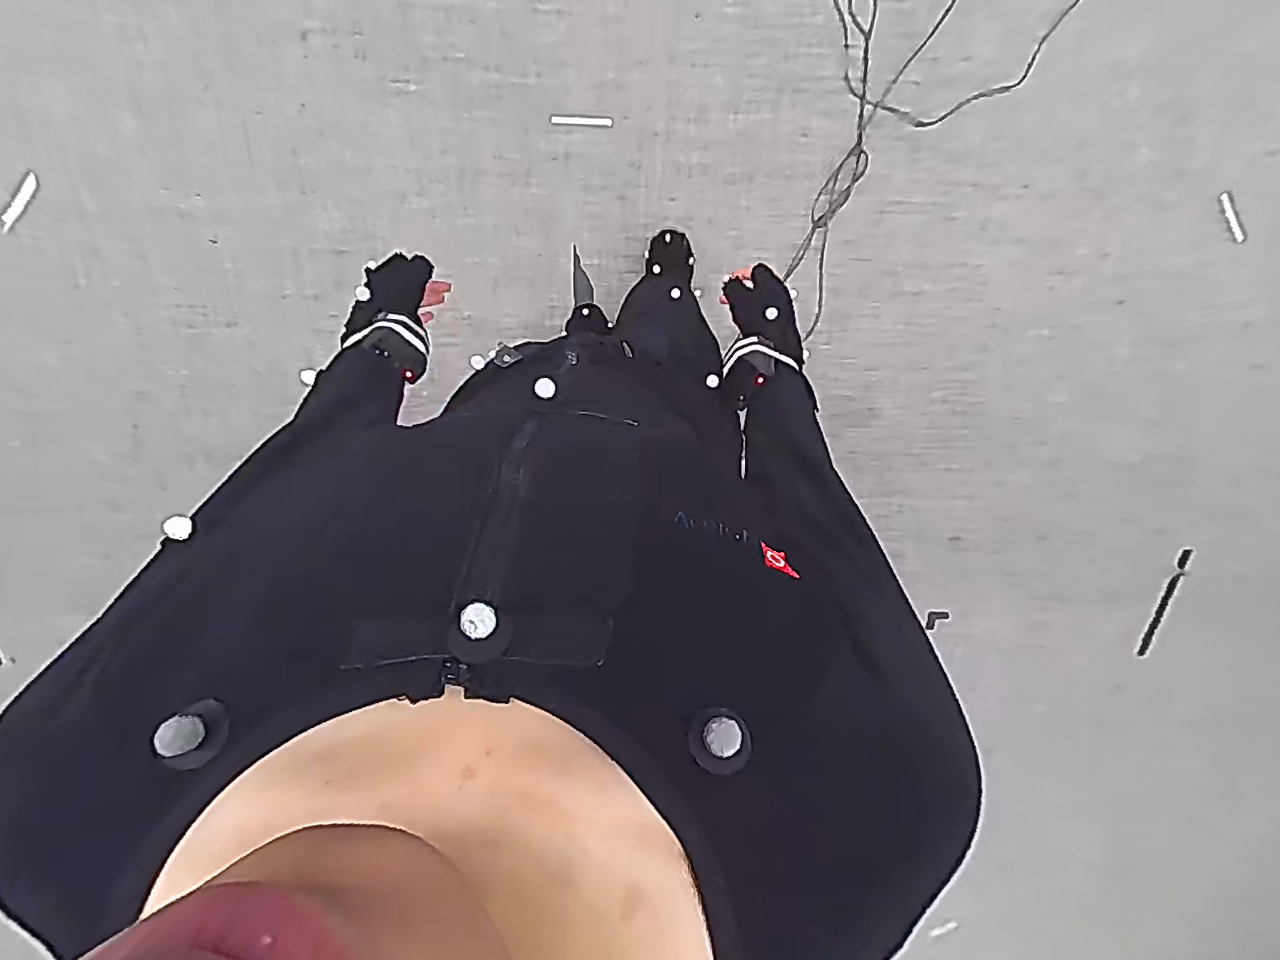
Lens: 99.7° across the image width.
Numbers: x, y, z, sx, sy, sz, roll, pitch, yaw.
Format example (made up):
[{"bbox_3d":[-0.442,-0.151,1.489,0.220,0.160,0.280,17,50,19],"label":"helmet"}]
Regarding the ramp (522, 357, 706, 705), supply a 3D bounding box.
[{"bbox_3d":[-0.072,0.169,1.507,0.509,0.206,0.991,-1,110,0],"label":"ramp"}]
